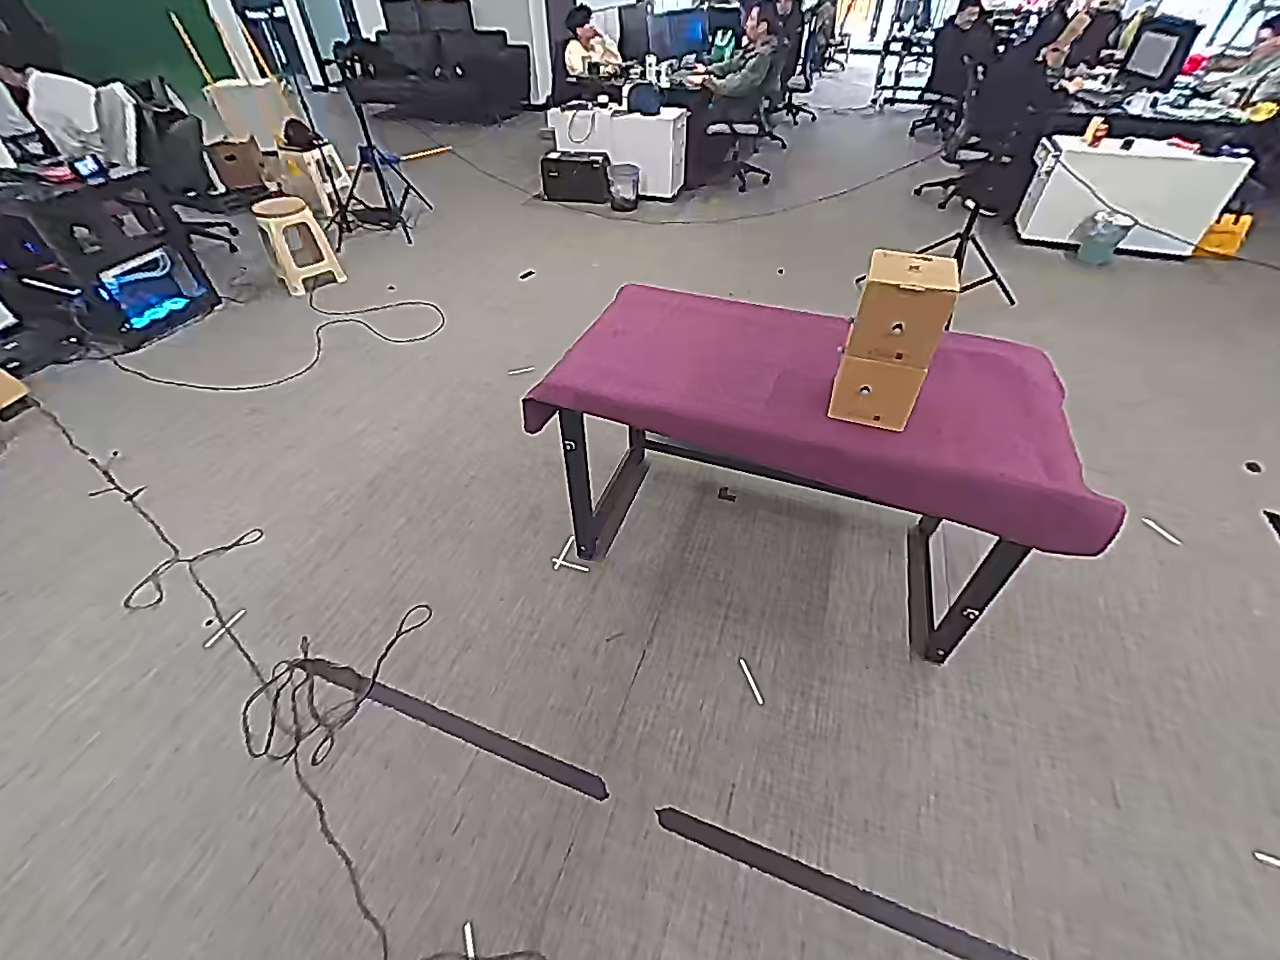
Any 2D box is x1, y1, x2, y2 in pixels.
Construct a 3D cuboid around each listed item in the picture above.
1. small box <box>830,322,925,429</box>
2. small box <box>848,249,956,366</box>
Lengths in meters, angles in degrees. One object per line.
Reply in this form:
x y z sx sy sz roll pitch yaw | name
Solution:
0.545 -0.240 1.248 0.168 0.176 0.179 14 45 15 | small box
0.546 -0.362 1.138 0.168 0.176 0.179 15 46 16 | small box
